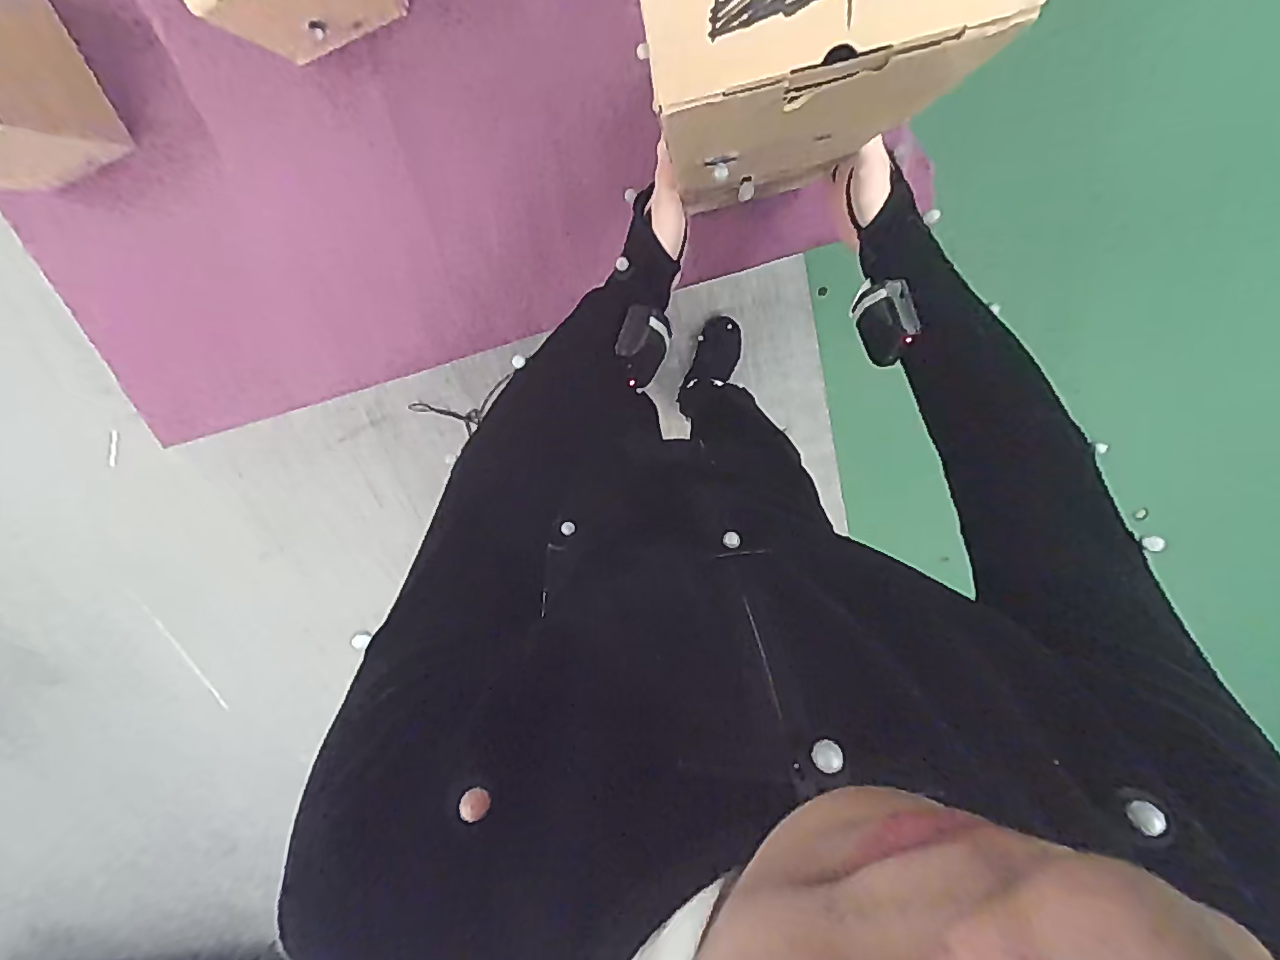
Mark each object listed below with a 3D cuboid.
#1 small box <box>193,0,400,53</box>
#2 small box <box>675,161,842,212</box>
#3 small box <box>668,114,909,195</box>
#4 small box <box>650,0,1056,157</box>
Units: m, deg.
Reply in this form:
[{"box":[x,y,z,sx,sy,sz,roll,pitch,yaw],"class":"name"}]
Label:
[{"box":[-0.385,-0.588,0.550,0.168,0.176,0.179,-16,113,10],"class":"small box"},{"box":[0.113,-0.408,0.583,0.168,0.176,0.179,-9,110,9],"class":"small box"},{"box":[0.099,-0.348,0.430,0.168,0.176,0.179,-8,110,8],"class":"small box"},{"box":[0.086,-0.287,0.279,0.168,0.176,0.179,-8,109,9],"class":"small box"}]
